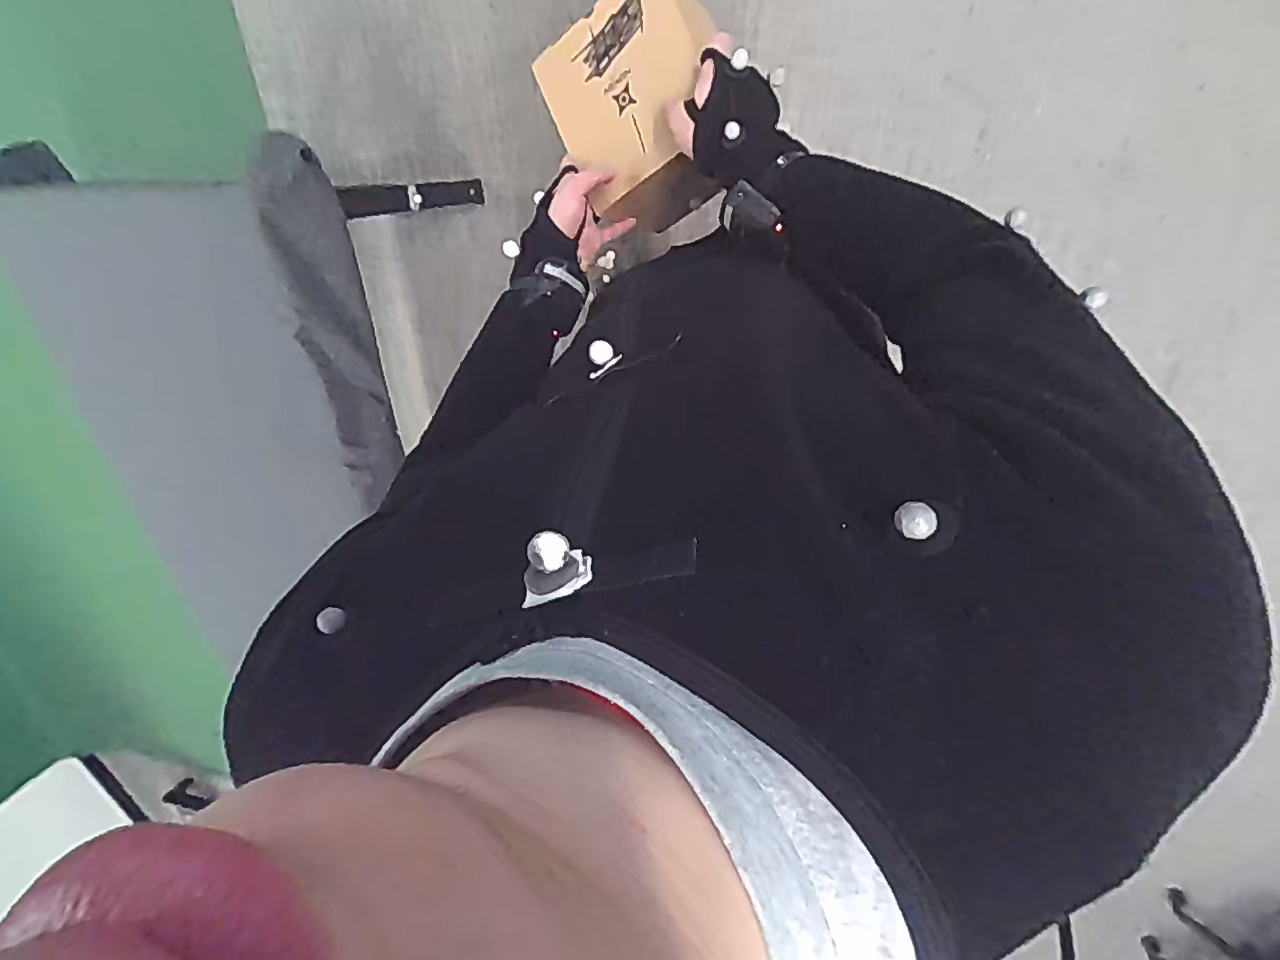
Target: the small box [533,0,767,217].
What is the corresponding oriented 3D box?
[{"bbox_3d":[0.020,-0.424,0.603,0.168,0.176,0.179,-20,95,33],"label":"small box"}]
